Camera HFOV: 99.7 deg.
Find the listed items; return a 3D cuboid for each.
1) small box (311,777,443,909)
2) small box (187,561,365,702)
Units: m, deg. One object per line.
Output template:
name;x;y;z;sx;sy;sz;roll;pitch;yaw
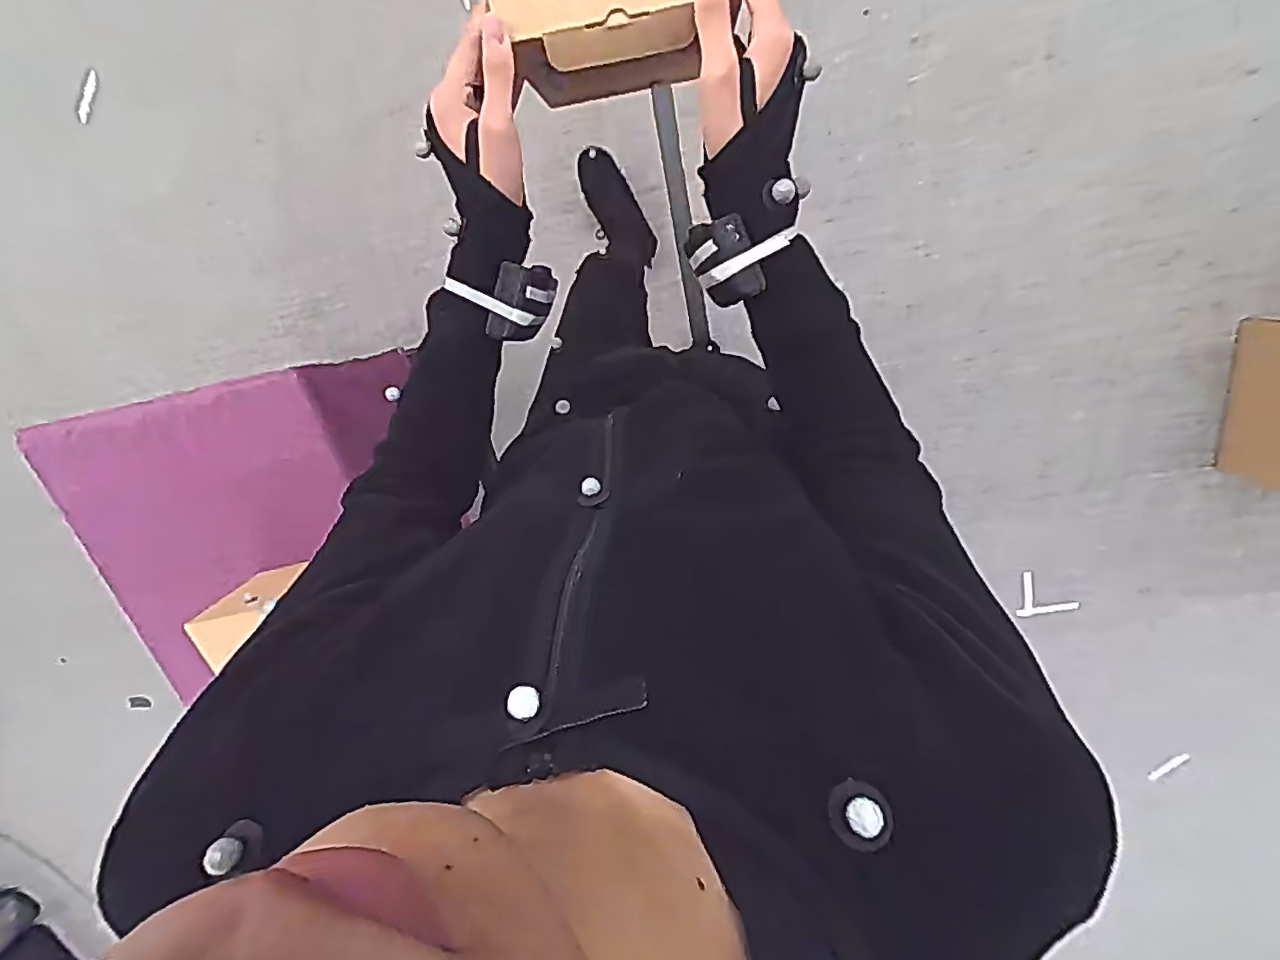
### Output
small box;-0.549;0.761;1.150;0.179;0.176;0.168;0;111;6
small box;-0.628;0.263;0.964;0.179;0.176;0.168;-13;109;13
